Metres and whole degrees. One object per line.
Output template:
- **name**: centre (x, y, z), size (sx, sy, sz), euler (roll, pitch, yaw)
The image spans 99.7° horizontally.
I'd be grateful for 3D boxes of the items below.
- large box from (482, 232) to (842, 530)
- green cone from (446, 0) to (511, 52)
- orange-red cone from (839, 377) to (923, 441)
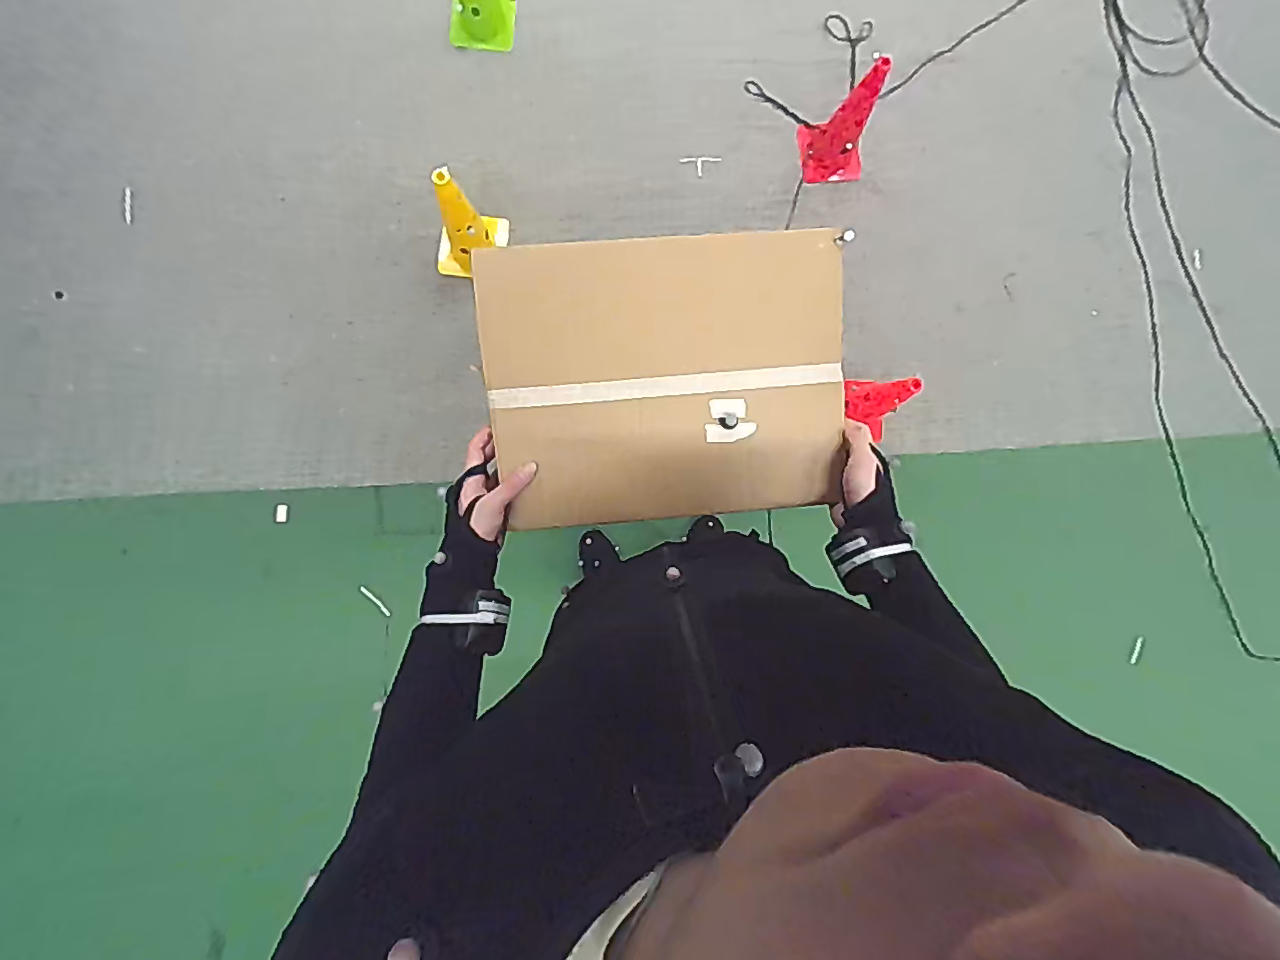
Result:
- **large box**: centre (0.025, -0.135, 0.768), size (0.408, 0.320, 0.320), euler (-5, 102, -4)
- **green cone**: centre (-0.504, -1.476, 1.553), size (0.200, 0.368, 0.202), euler (2, 87, -4)
- **orange-red cone**: centre (0.692, -0.237, 1.554), size (0.199, 0.360, 0.198), euler (4, 87, -5)
